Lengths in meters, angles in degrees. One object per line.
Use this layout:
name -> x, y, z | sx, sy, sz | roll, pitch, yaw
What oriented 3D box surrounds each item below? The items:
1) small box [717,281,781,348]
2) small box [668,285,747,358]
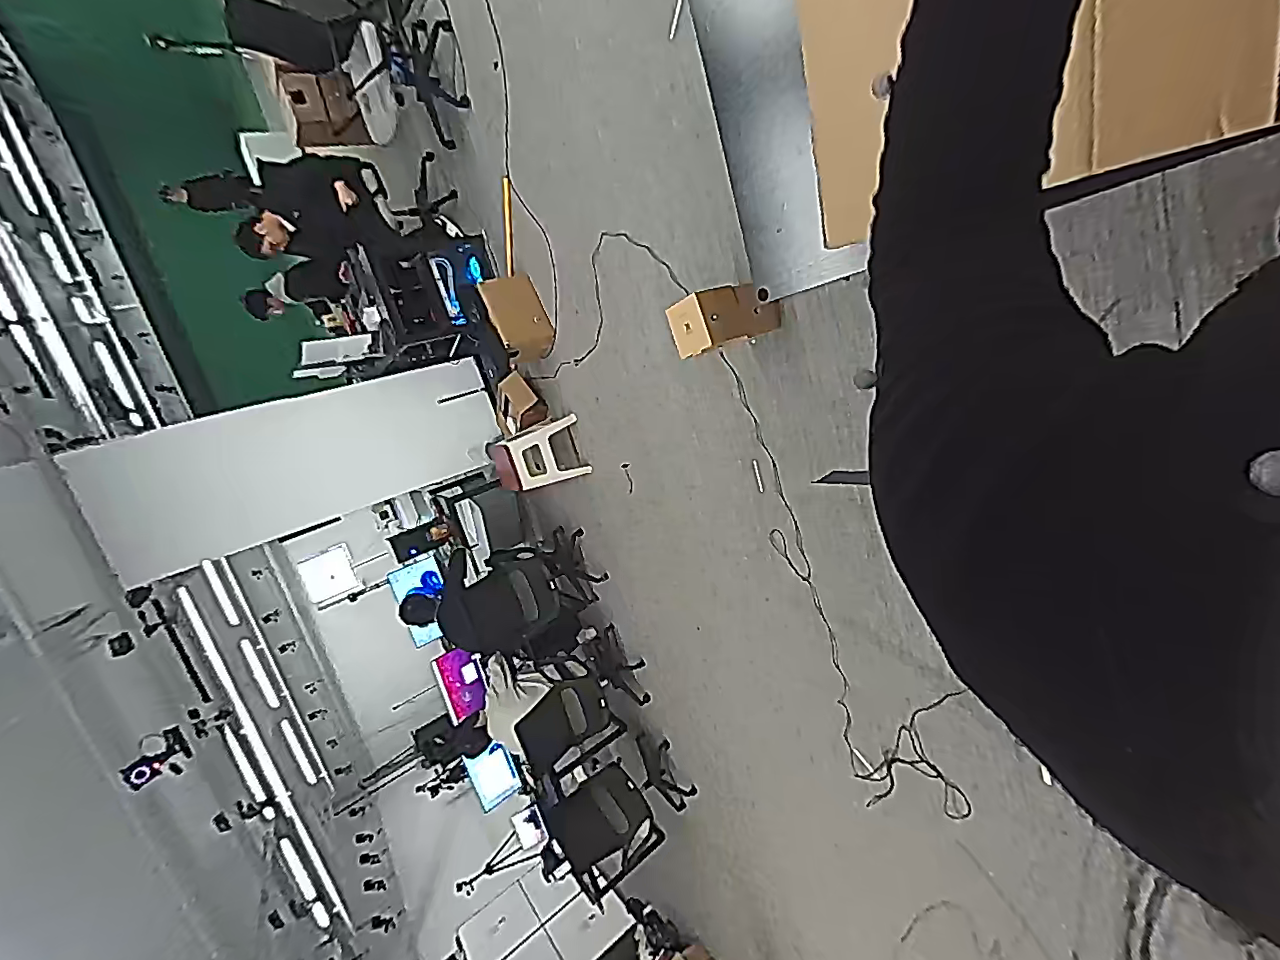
small box -> 0.355, -0.574, 1.867 | 0.168, 0.176, 0.179 | -5, 107, 58
small box -> 0.225, -0.524, 1.783 | 0.168, 0.176, 0.179 | -10, 101, 58
